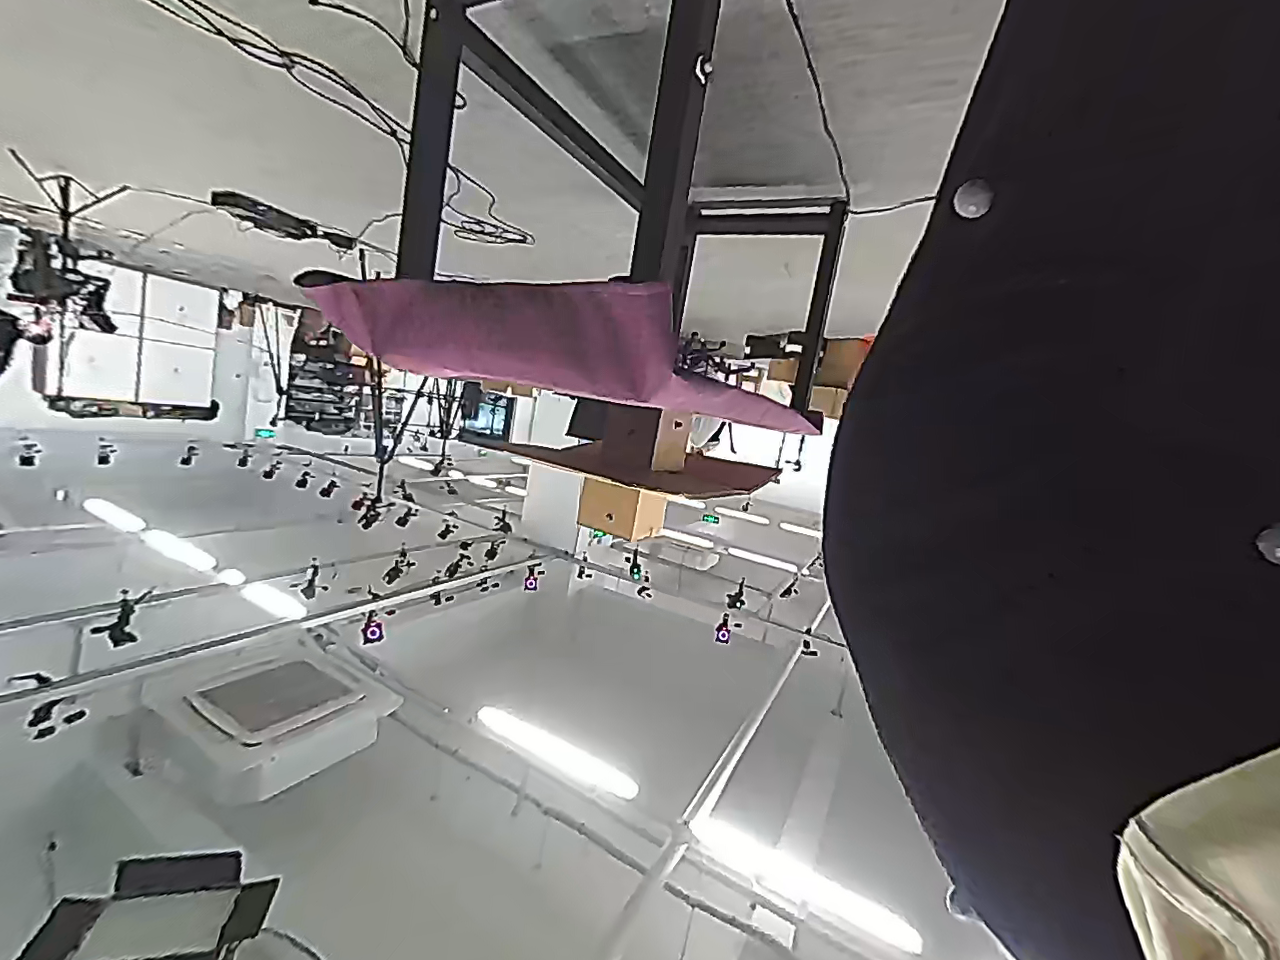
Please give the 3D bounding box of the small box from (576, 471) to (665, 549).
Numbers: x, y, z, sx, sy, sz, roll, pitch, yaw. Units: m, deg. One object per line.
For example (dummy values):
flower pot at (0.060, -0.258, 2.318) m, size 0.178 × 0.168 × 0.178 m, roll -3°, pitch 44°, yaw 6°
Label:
small box at (-0.044, 0.074, 1.441) m, size 0.179 × 0.176 × 0.168 m, roll 14°, pitch -174°, yaw 29°
